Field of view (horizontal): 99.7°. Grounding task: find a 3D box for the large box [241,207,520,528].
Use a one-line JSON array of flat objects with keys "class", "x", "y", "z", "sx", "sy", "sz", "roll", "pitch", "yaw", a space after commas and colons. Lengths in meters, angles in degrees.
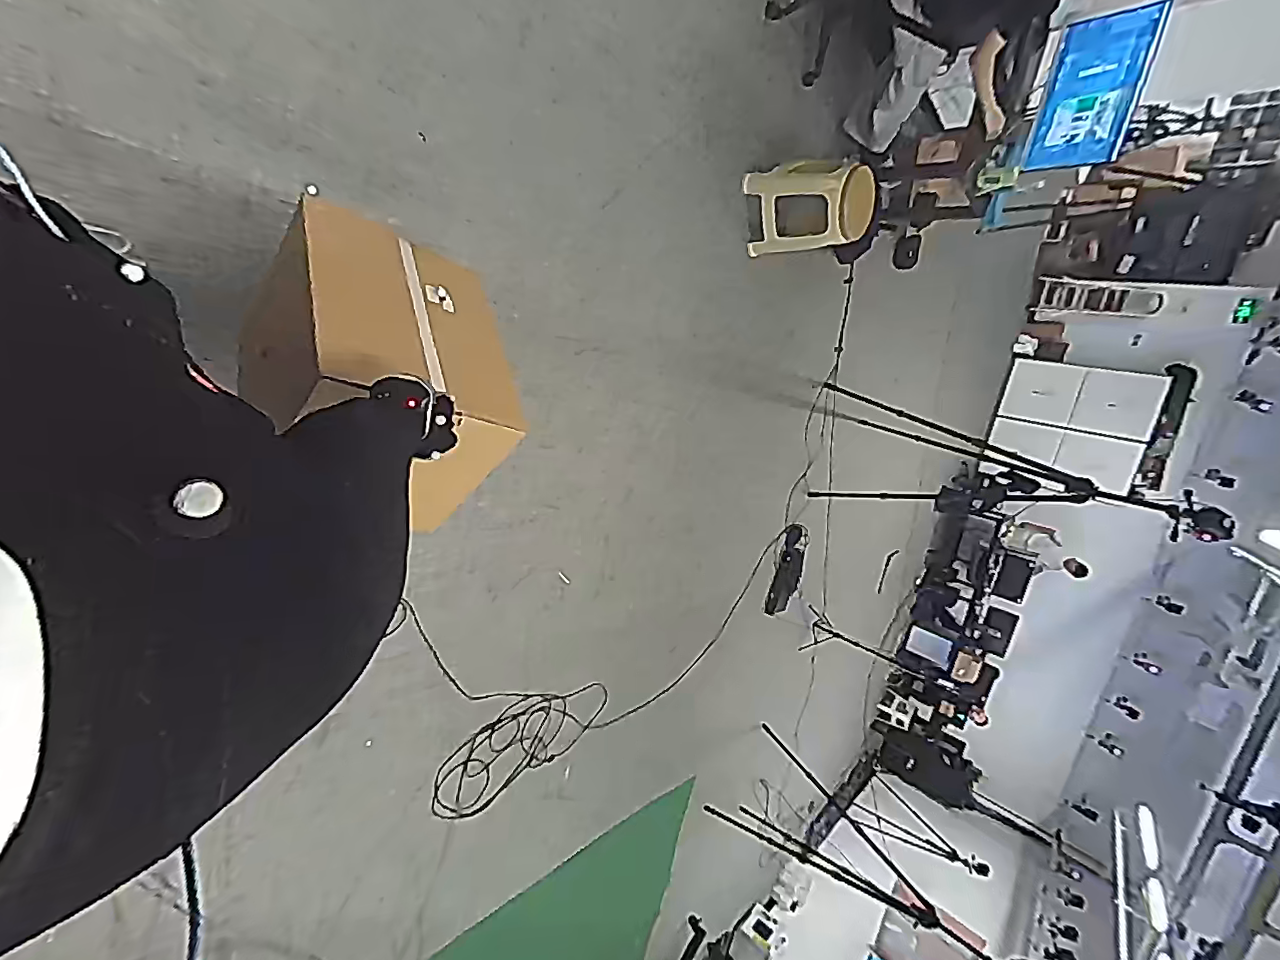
[{"class": "large box", "x": -0.467, "y": -0.167, "z": 0.942, "sx": 0.320, "sy": 0.408, "sz": 0.320, "roll": -41, "pitch": 147, "yaw": 27}]
